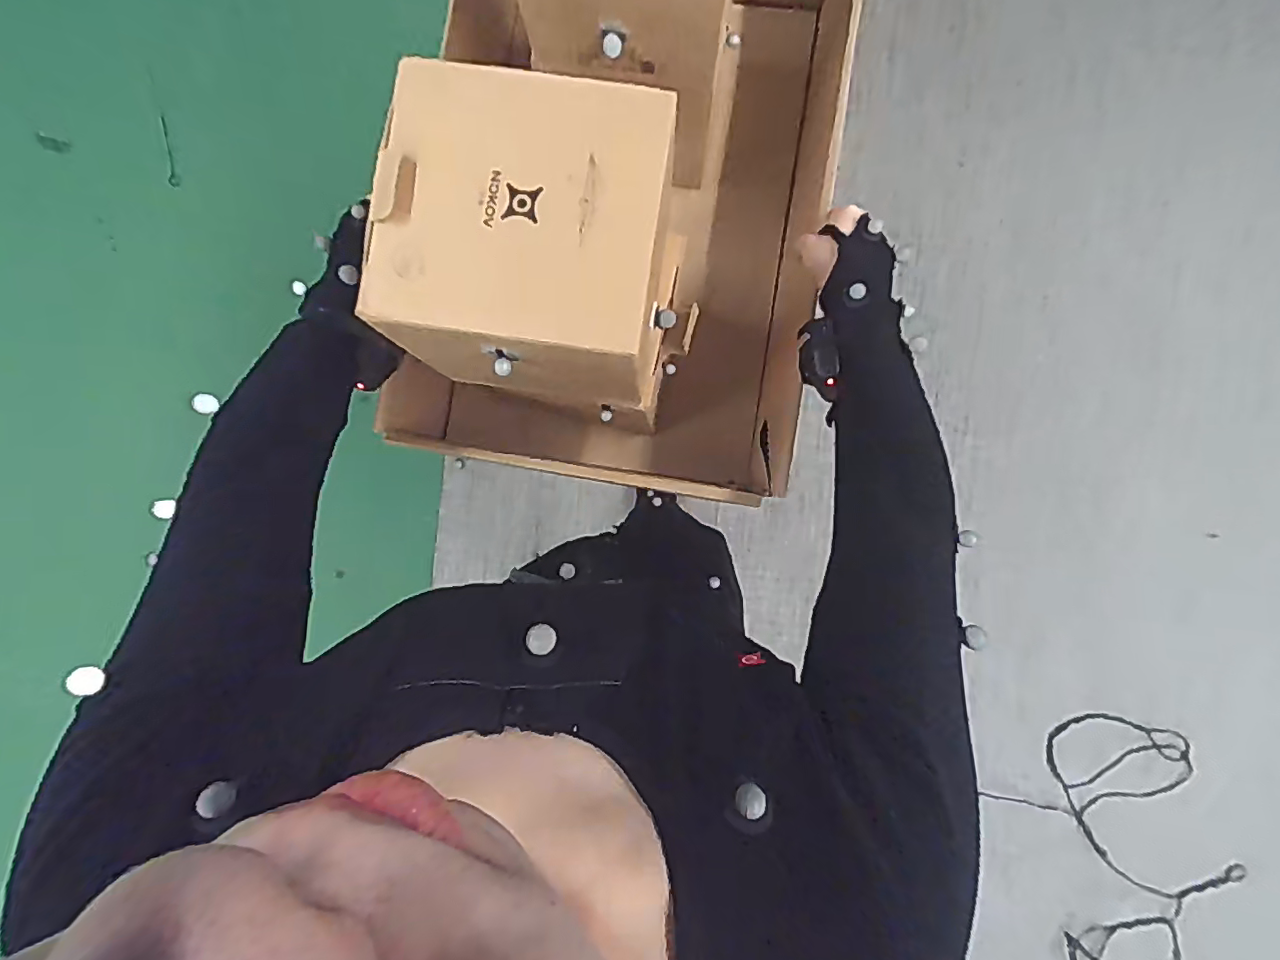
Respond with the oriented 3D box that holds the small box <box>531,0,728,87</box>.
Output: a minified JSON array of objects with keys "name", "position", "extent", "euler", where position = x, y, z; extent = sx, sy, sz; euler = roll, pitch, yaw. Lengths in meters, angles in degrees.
[{"name":"small box","position":[-0.001,-0.457,0.415],"extent":[0.168,0.176,0.179],"euler":[9,90,1]}]

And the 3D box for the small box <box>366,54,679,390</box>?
[{"name":"small box","position":[-0.072,-0.172,0.415],"extent":[0.179,0.176,0.168],"euler":[8,89,0]}]
